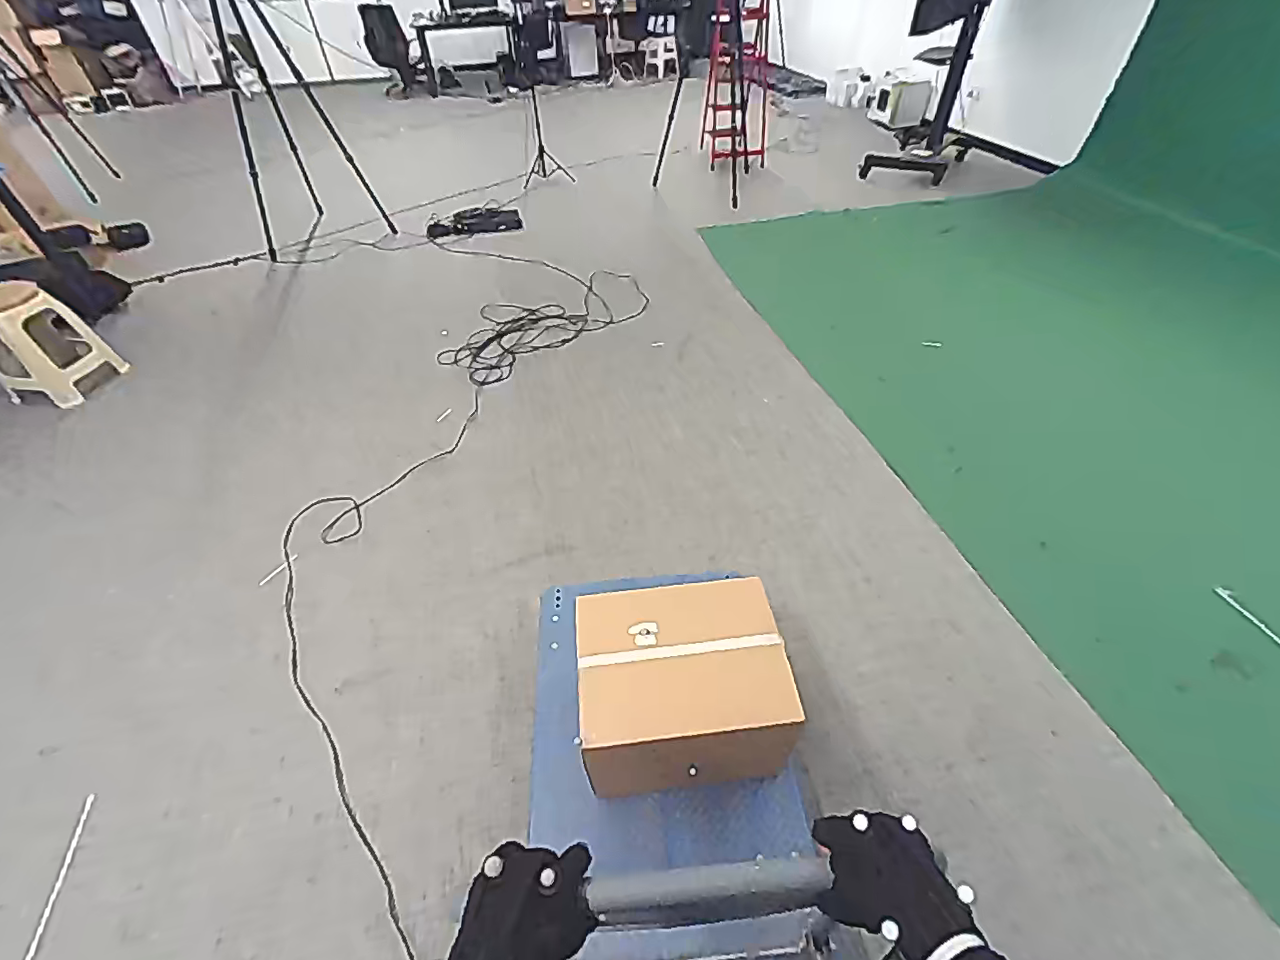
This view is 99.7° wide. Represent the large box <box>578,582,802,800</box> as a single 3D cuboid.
[{"bbox_3d":[0.090,0.459,1.173,0.408,0.320,0.320,-7,44,-2],"label":"large box"}]
